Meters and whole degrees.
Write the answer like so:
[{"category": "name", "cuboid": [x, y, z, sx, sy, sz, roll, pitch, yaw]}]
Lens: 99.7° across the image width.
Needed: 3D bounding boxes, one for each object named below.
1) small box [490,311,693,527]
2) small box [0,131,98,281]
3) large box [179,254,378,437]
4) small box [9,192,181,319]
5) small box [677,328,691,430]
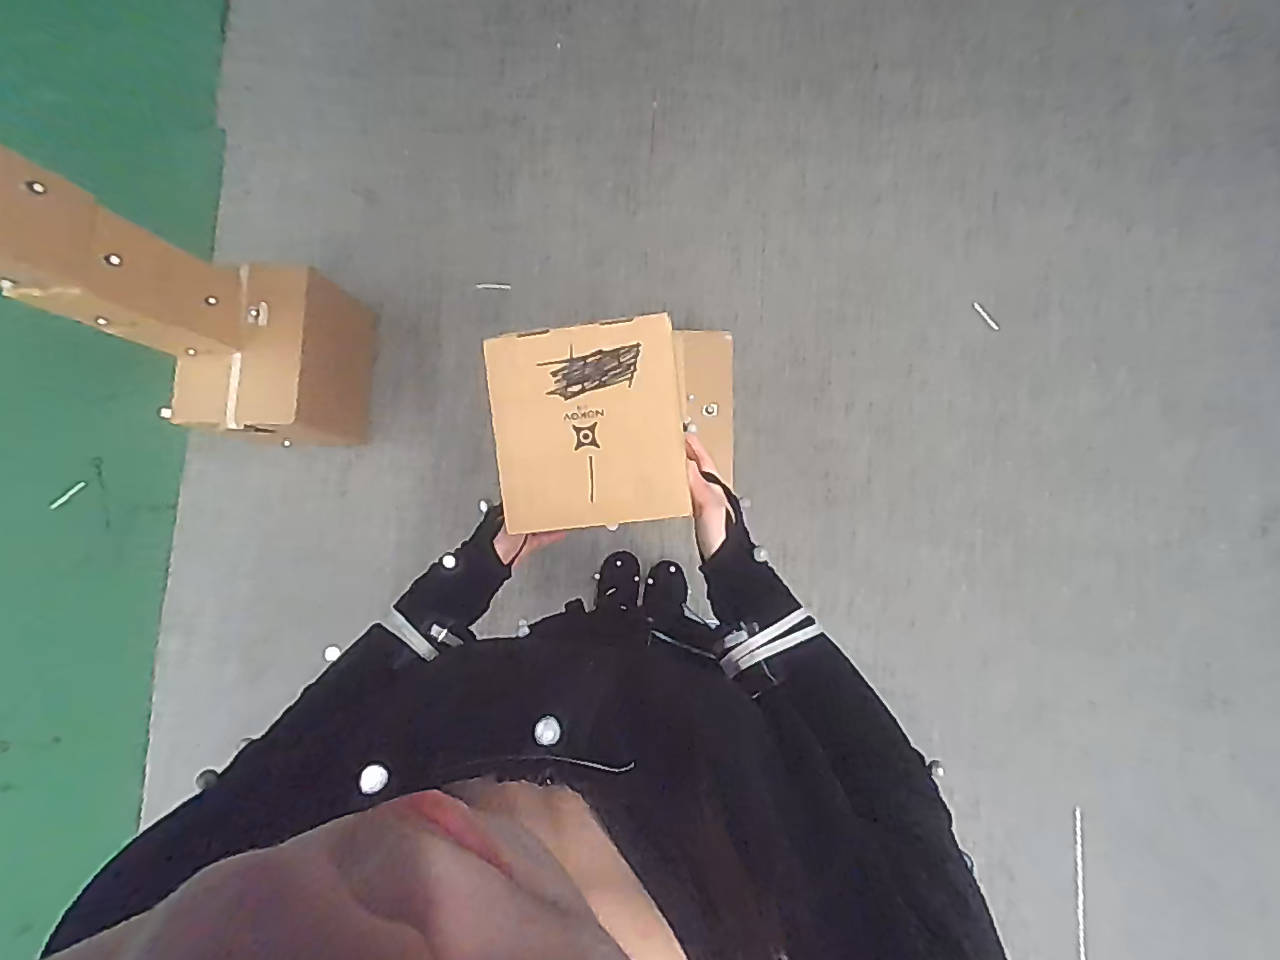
[{"category": "small box", "cuboid": [-0.036, -0.055, 0.549, 0.168, 0.176, 0.179, -6, 93, 6]}, {"category": "small box", "cuboid": [-1.058, -0.449, 0.892, 0.168, 0.176, 0.179, 3, 87, 7]}, {"category": "large box", "cuboid": [-0.939, -0.336, 1.449, 0.320, 0.320, 0.408, 1, 84, 4]}, {"category": "small box", "cuboid": [-1.047, -0.430, 1.054, 0.168, 0.176, 0.179, 1, 86, 6]}, {"category": "small box", "cuboid": [0.000, -0.163, 0.977, 0.179, 0.176, 0.168, -2, 84, 5]}]
